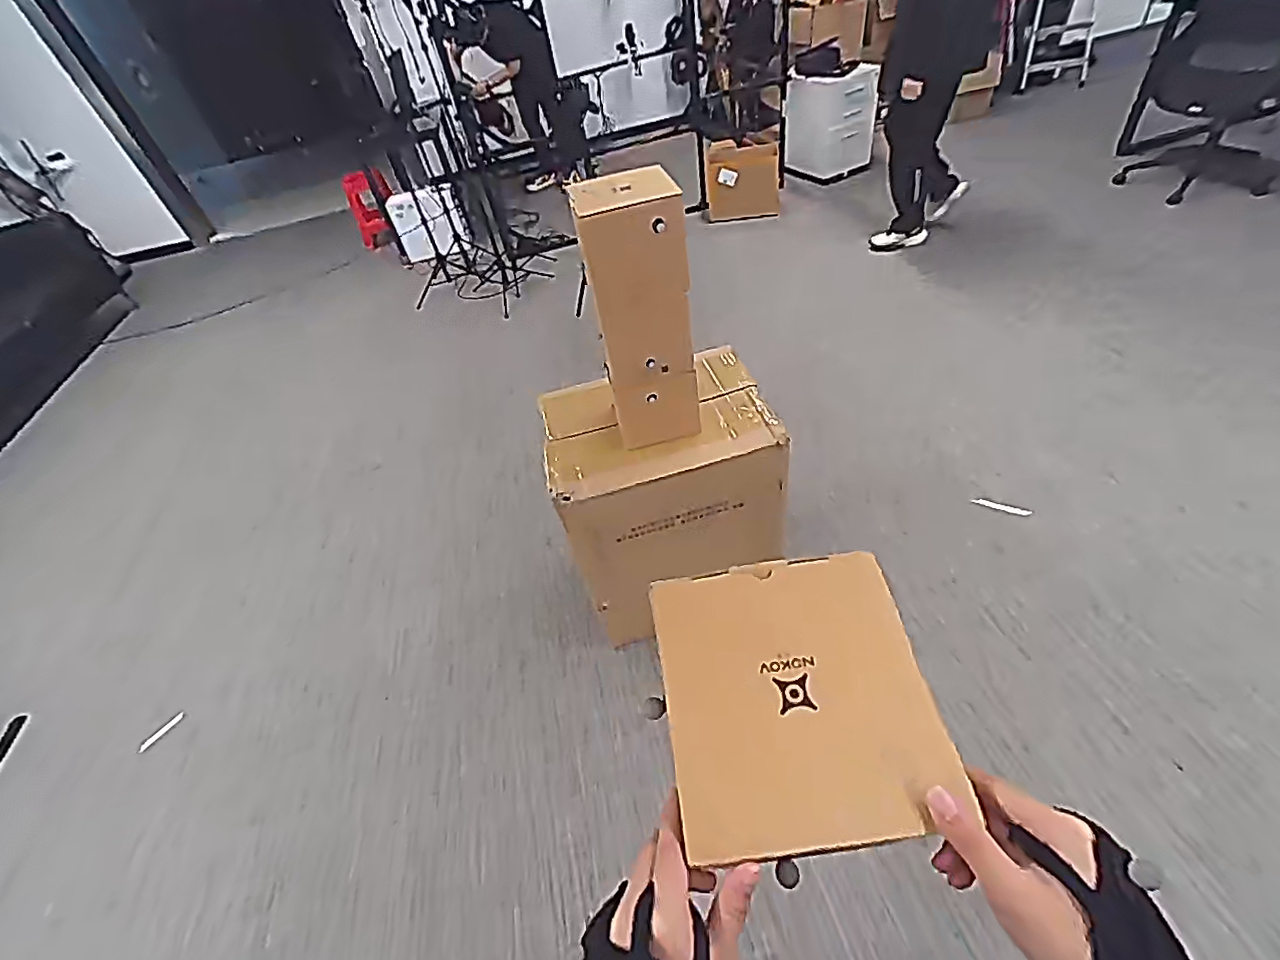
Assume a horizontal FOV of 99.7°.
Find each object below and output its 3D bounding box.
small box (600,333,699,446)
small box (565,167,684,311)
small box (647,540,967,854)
[{"bbox_3d":[0.022,-0.197,1.197,0.179,0.176,0.168,-14,45,-3],"label":"small box"},{"bbox_3d":[-0.023,-0.429,0.967,0.179,0.176,0.168,-15,45,-3],"label":"small box"},{"bbox_3d":[0.104,0.173,0.414,0.168,0.176,0.179,-10,52,2],"label":"small box"}]
